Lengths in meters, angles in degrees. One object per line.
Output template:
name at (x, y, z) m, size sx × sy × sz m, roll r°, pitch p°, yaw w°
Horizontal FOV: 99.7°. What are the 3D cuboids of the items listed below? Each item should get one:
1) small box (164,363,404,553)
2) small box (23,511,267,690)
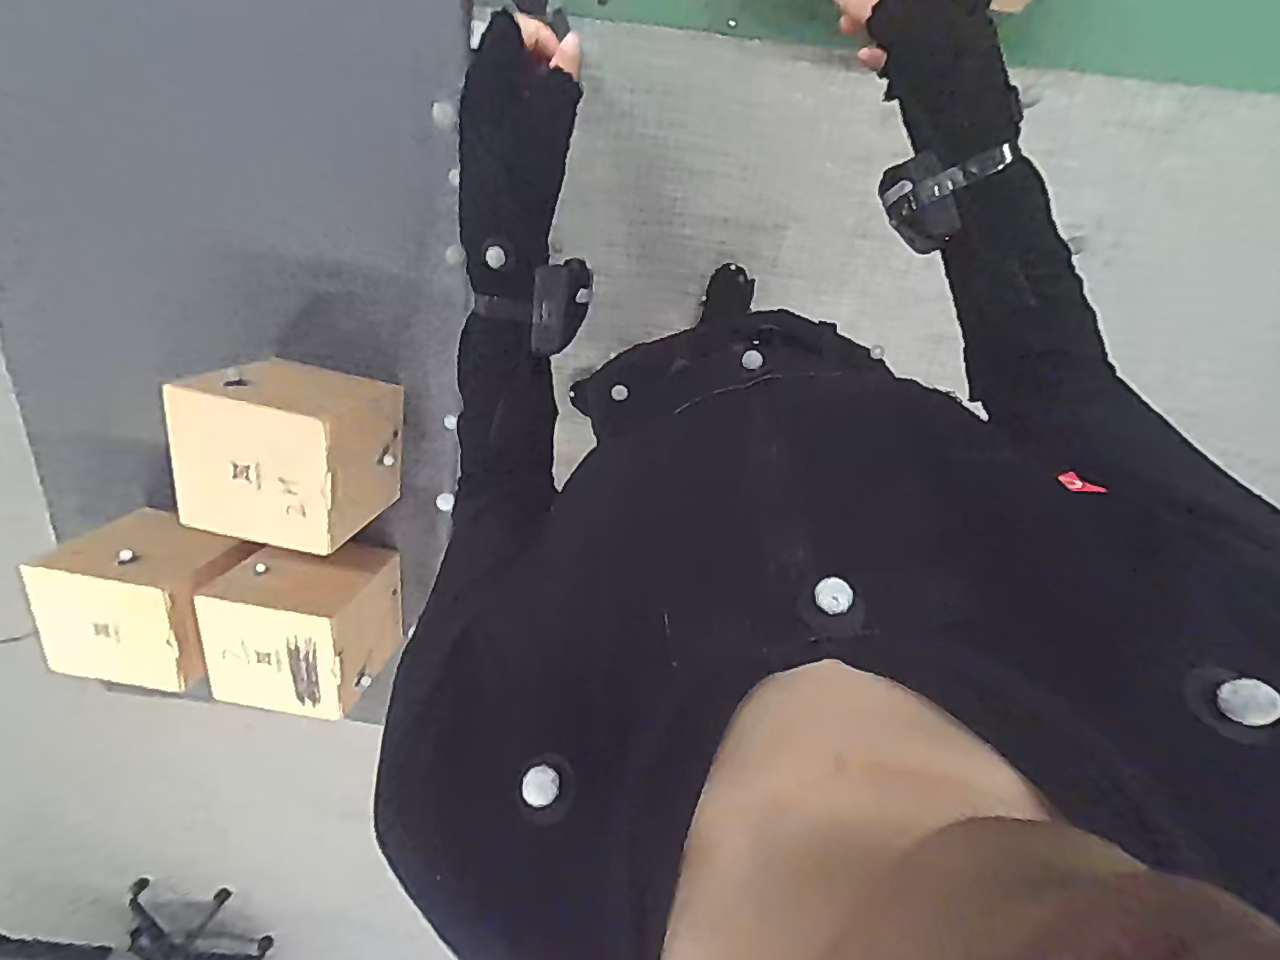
small box at (-0.415, -0.037, 0.658) m, size 0.179 × 0.176 × 0.168 m, roll 12°, pitch 112°, yaw -1°
small box at (-0.667, 0.158, 0.754) m, size 0.179 × 0.176 × 0.168 m, roll 10°, pitch 112°, yaw -2°
